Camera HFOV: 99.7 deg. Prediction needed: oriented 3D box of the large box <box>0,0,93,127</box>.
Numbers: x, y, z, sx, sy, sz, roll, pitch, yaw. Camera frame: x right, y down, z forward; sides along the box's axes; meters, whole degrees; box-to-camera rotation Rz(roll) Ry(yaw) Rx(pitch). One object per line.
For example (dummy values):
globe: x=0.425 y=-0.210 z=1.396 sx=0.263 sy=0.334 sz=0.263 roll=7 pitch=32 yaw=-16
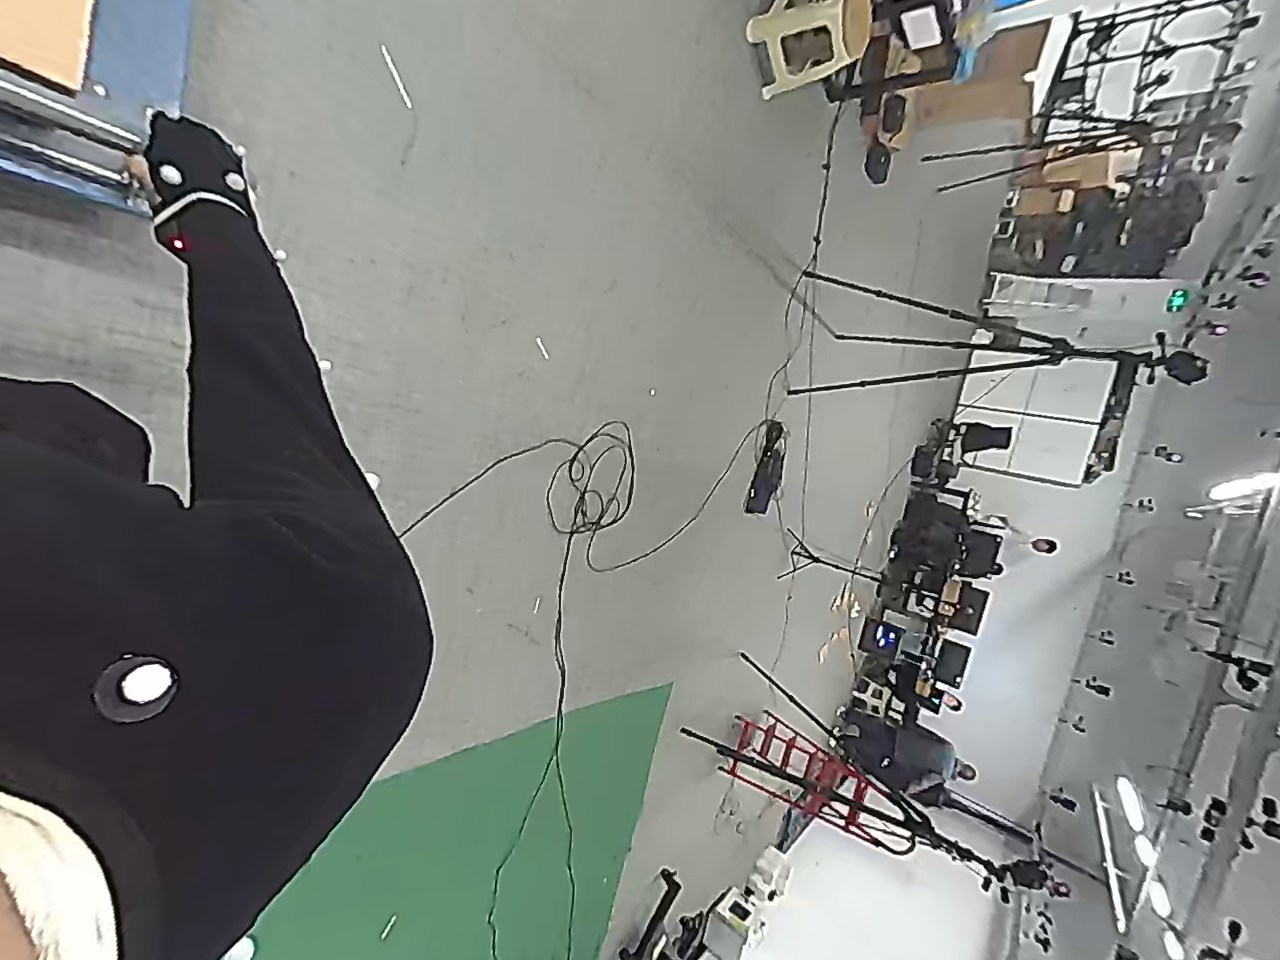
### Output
large box: x=-0.942 y=-0.769 z=0.699 sx=0.320 sy=0.320 sz=0.408 roll=4 pitch=99 yaw=-53
